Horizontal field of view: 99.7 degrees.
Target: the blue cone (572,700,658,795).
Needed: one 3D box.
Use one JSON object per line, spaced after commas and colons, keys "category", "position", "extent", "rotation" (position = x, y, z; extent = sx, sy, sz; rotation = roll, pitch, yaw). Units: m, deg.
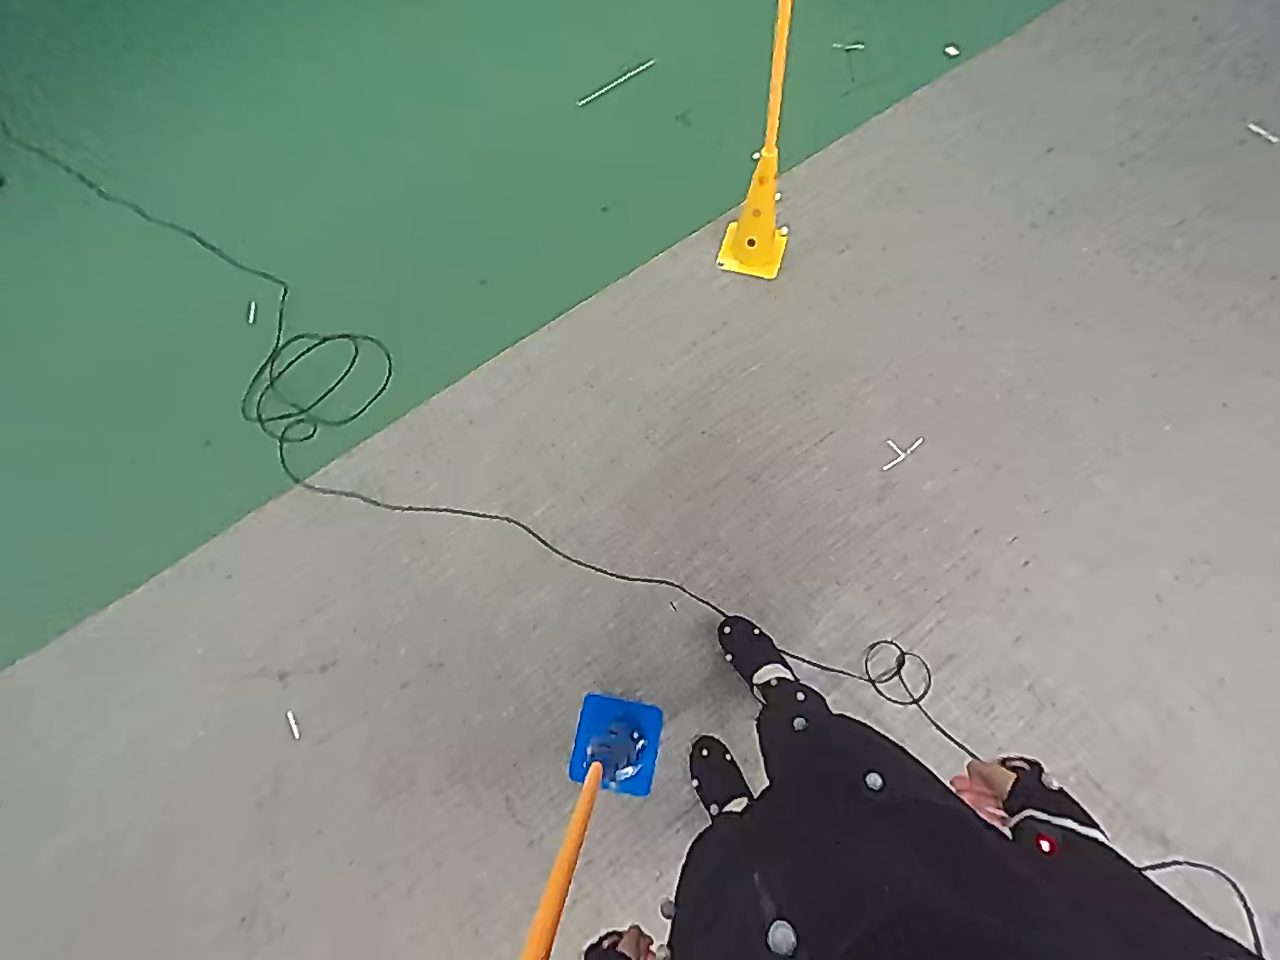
{"category": "blue cone", "position": [-0.068, 0.575, 1.109], "extent": [0.192, 0.380, 0.193], "rotation": [8, 73, 6]}
